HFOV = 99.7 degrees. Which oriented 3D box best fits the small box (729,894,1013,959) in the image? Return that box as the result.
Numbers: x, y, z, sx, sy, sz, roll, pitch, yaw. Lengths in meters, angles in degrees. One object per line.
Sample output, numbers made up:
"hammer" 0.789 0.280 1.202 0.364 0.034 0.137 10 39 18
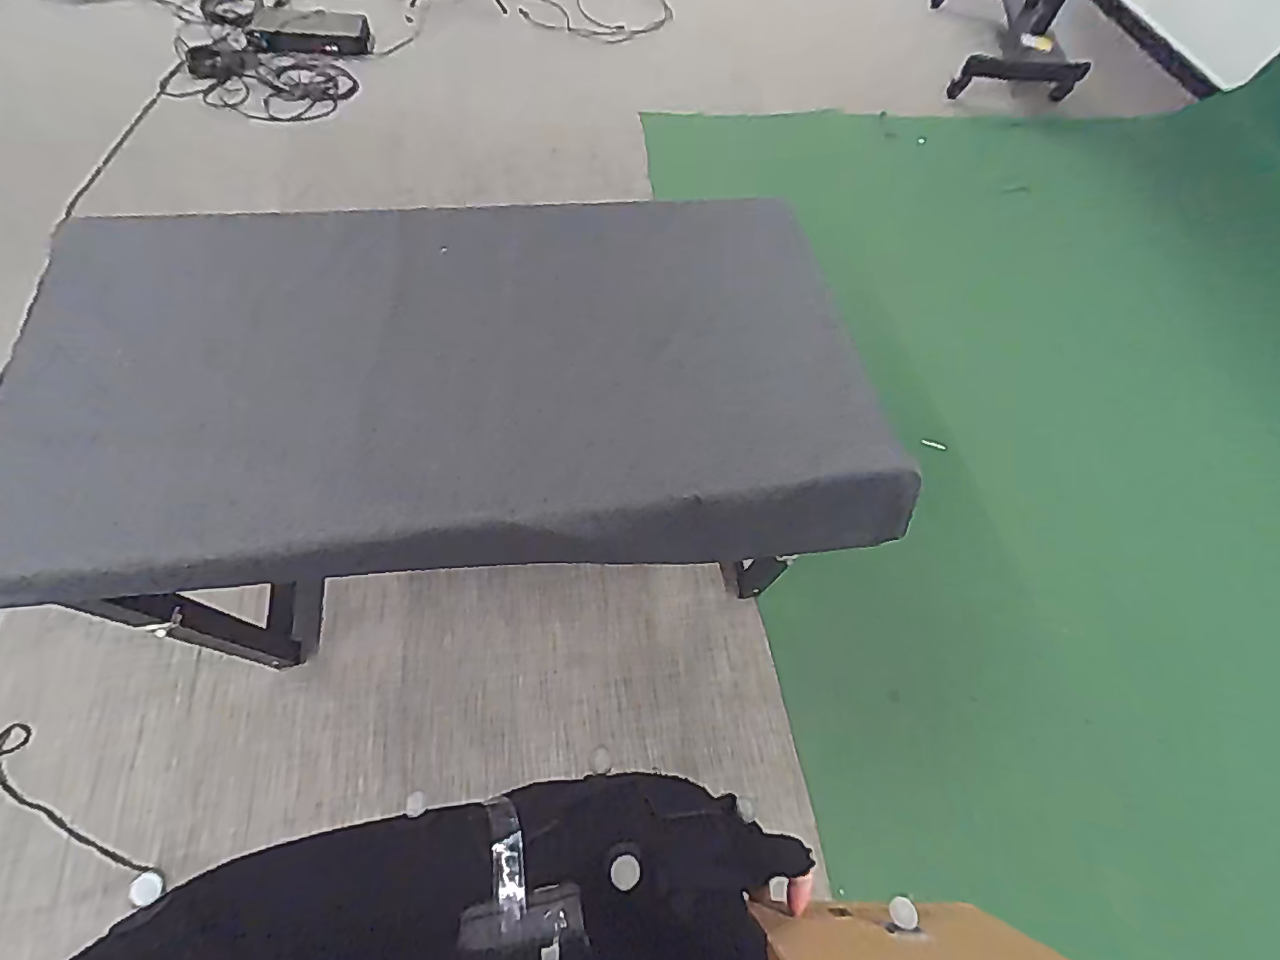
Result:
"small box" 0.144 0.349 0.275 0.168 0.176 0.179 6 68 -4
